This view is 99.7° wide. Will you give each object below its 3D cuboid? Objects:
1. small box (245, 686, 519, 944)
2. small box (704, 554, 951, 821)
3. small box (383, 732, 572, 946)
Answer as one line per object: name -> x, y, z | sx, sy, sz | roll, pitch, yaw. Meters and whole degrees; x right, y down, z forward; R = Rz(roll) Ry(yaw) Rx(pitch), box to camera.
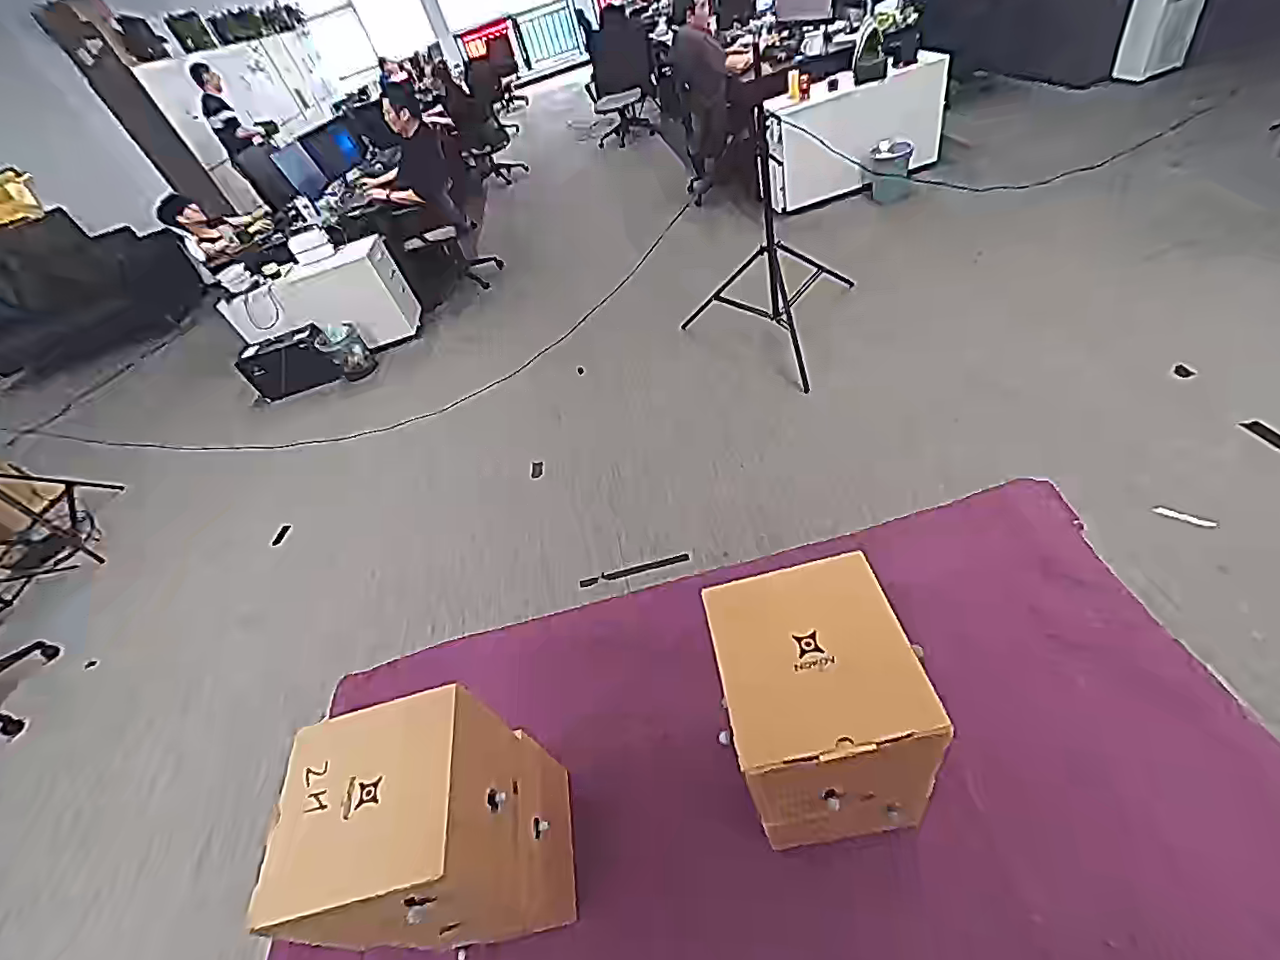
small box -> -0.230, 0.337, 0.543 | 0.179, 0.176, 0.168 | -17, 44, 3
small box -> 0.169, 0.205, 0.534 | 0.168, 0.176, 0.179 | -15, 44, 5
small box -> -0.189, 0.443, 0.663 | 0.168, 0.176, 0.179 | -16, 43, 3
